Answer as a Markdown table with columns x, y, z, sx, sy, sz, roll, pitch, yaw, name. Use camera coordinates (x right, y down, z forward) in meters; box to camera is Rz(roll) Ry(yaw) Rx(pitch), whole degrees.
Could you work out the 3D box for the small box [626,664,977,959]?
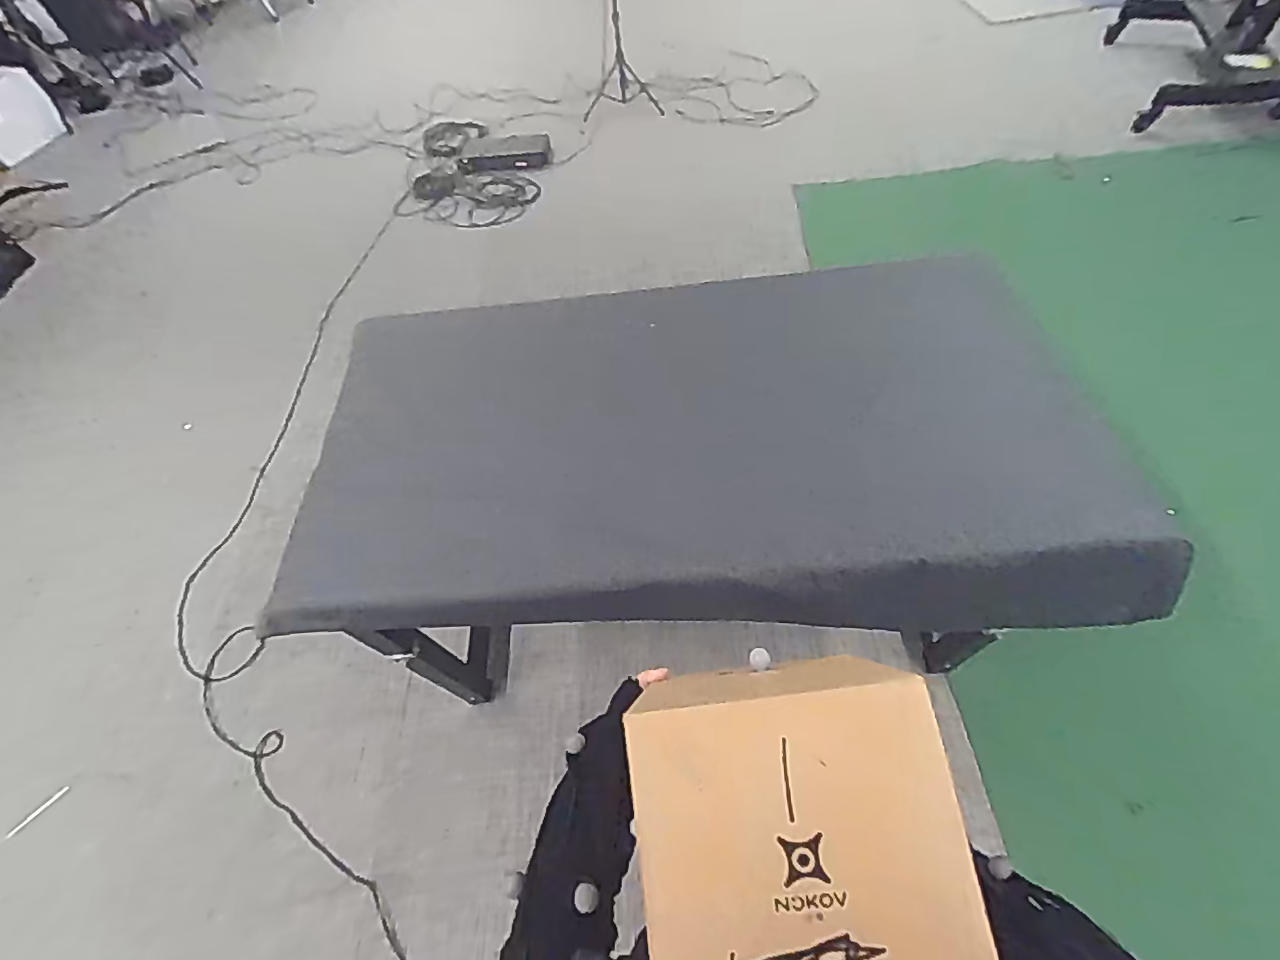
| x | y | z | sx | sy | sz | roll | pitch | yaw | name |
| --- | --- | --- | --- | --- | --- | --- | --- | --- | --- |
| 0.091 | 0.226 | 0.358 | 0.168 | 0.176 | 0.179 | -8 | 74 | 5 | small box |
